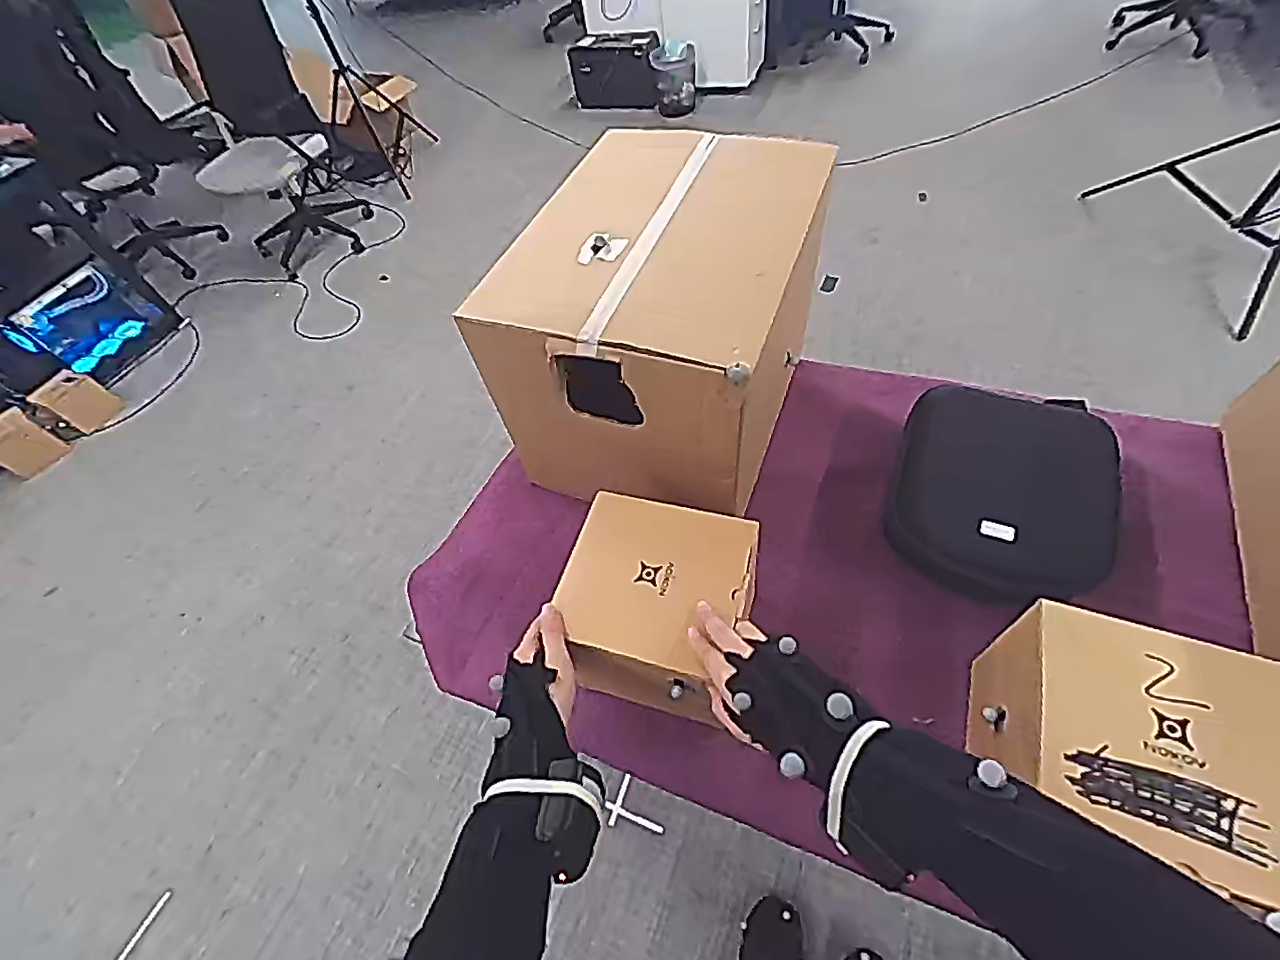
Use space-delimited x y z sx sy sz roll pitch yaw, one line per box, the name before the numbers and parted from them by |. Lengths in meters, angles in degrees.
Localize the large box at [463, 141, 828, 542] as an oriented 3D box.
large box | 0.039 -0.190 0.733 0.320 0.320 0.408 14 60 17
